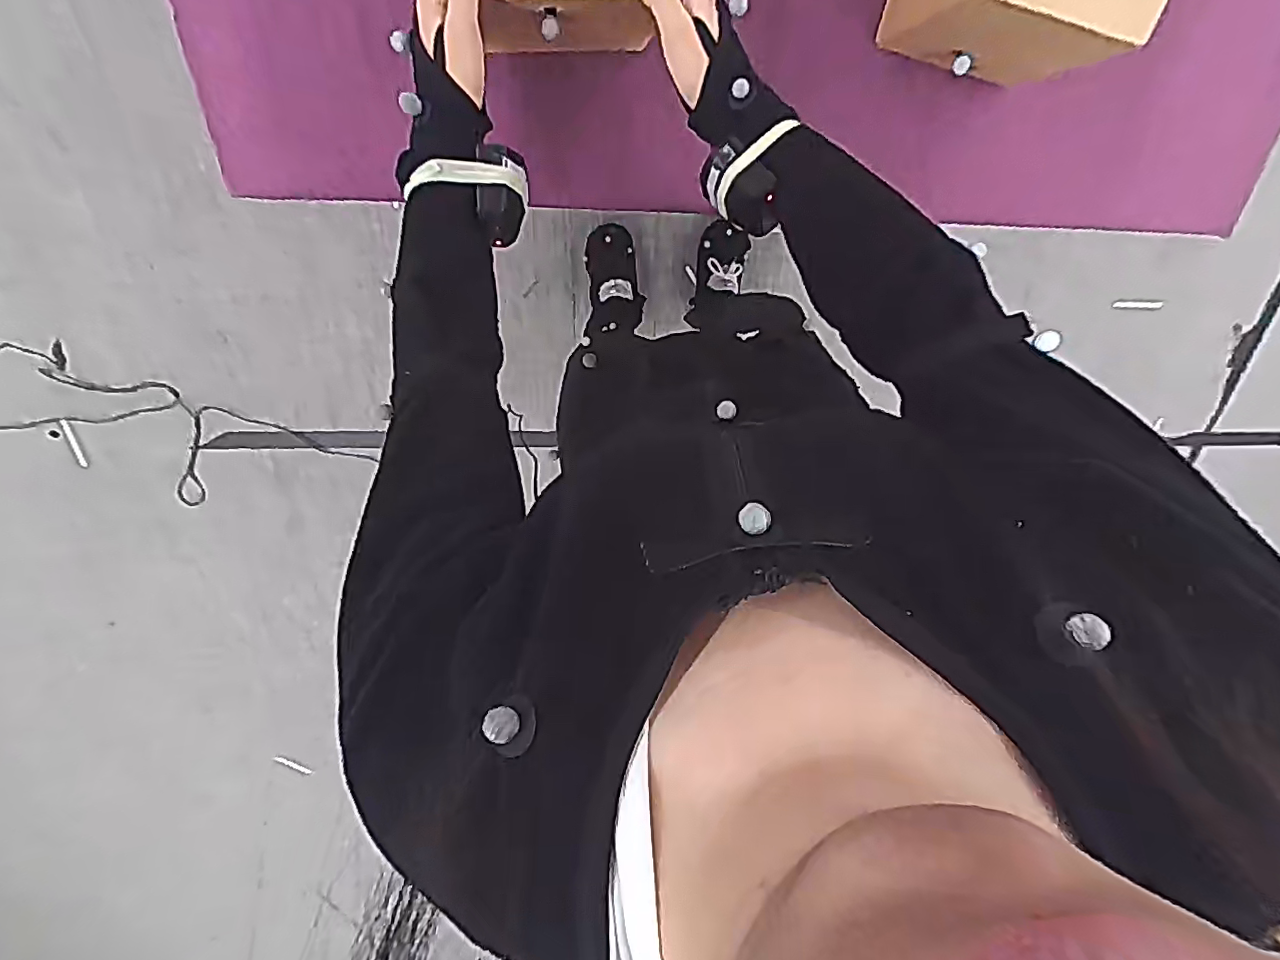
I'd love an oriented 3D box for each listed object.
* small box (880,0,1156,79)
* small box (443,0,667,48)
[{"bbox_3d":[0.346,-0.490,0.476,0.168,0.176,0.179,7,117,-11],"label":"small box"},{"bbox_3d":[-0.074,-0.469,0.432,0.179,0.176,0.168,-5,118,-5],"label":"small box"}]
